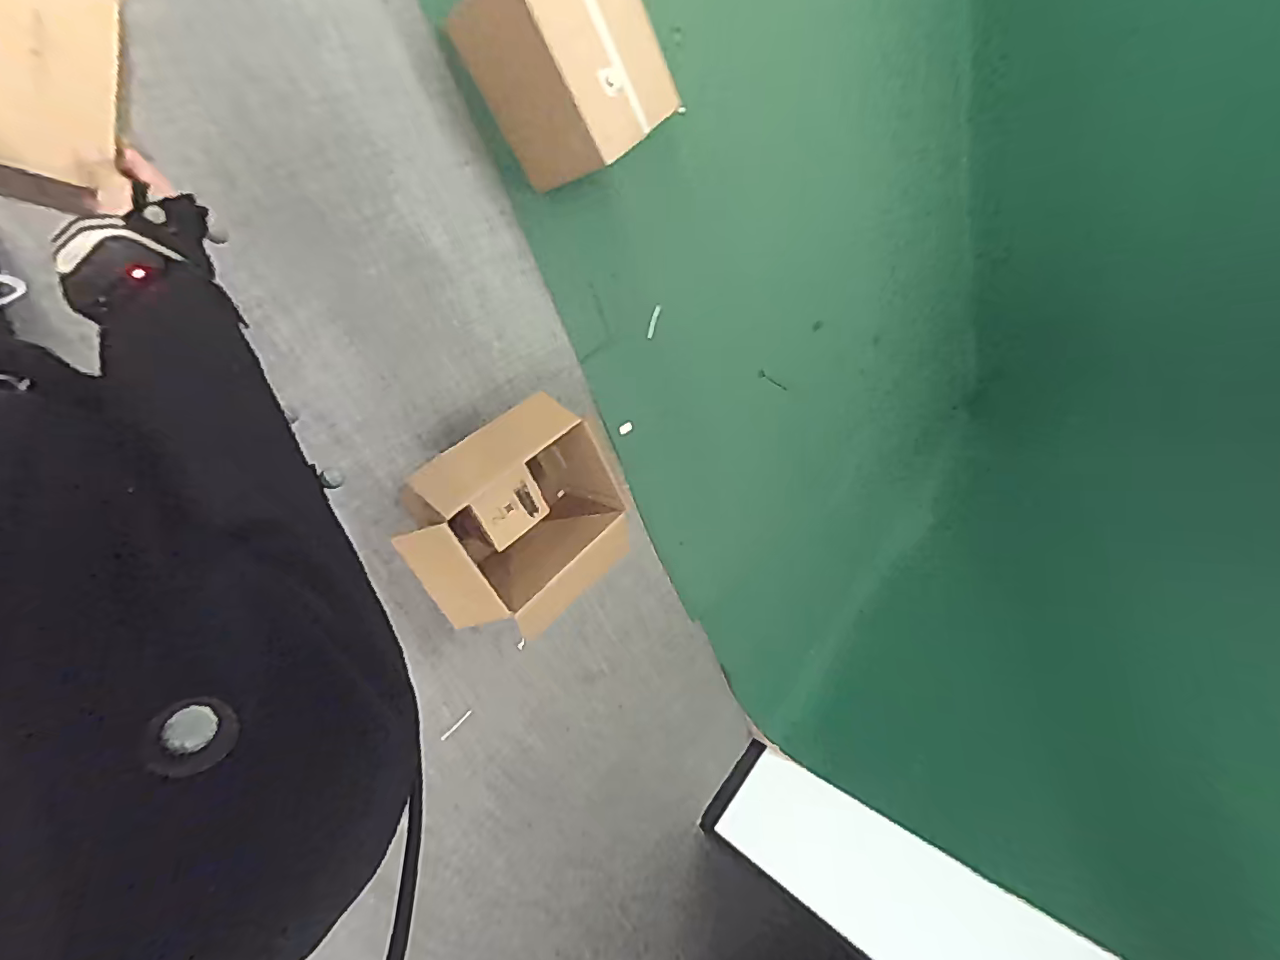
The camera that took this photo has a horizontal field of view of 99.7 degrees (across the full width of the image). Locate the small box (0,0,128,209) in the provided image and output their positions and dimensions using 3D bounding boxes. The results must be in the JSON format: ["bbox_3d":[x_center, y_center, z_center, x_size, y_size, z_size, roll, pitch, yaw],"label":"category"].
[{"bbox_3d":[-0.549,-0.344,0.444,0.179,0.176,0.168,2,100,-42],"label":"small box"}]
